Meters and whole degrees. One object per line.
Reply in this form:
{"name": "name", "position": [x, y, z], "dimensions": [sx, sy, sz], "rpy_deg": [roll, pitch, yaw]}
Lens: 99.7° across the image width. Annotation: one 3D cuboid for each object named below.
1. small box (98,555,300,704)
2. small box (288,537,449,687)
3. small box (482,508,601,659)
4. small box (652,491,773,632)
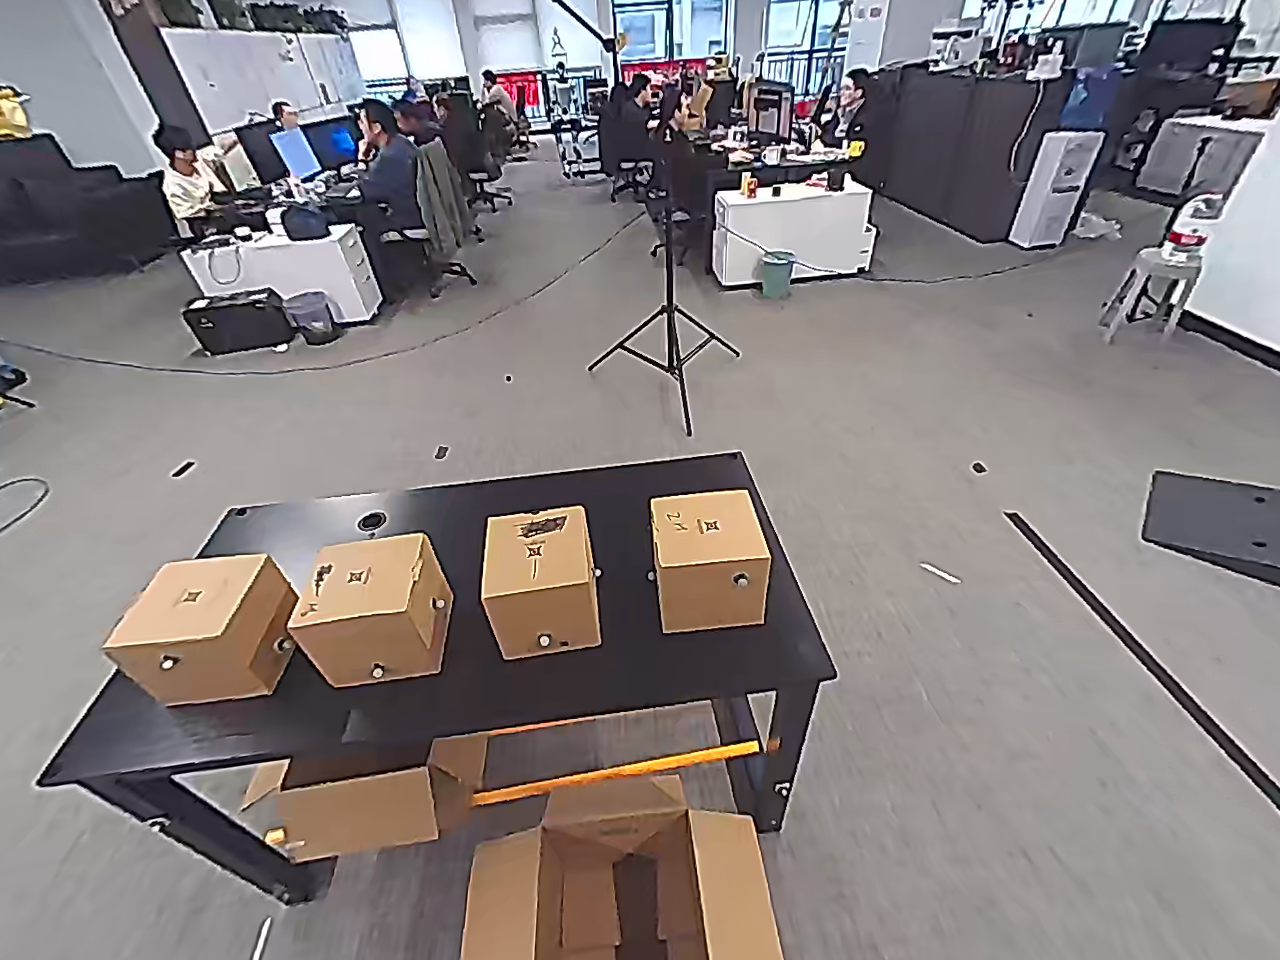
{"name": "small box", "position": [-0.690, 0.246, 0.882], "dimensions": [0.179, 0.176, 0.168], "rpy_deg": [-5, 40, -3]}
{"name": "small box", "position": [-0.428, 0.218, 0.893], "dimensions": [0.179, 0.176, 0.168], "rpy_deg": [-7, 39, -5]}
{"name": "small box", "position": [-0.161, 0.174, 0.920], "dimensions": [0.168, 0.176, 0.179], "rpy_deg": [-8, 40, -4]}
{"name": "small box", "position": [0.115, 0.140, 0.932], "dimensions": [0.179, 0.176, 0.168], "rpy_deg": [-6, 37, -2]}
